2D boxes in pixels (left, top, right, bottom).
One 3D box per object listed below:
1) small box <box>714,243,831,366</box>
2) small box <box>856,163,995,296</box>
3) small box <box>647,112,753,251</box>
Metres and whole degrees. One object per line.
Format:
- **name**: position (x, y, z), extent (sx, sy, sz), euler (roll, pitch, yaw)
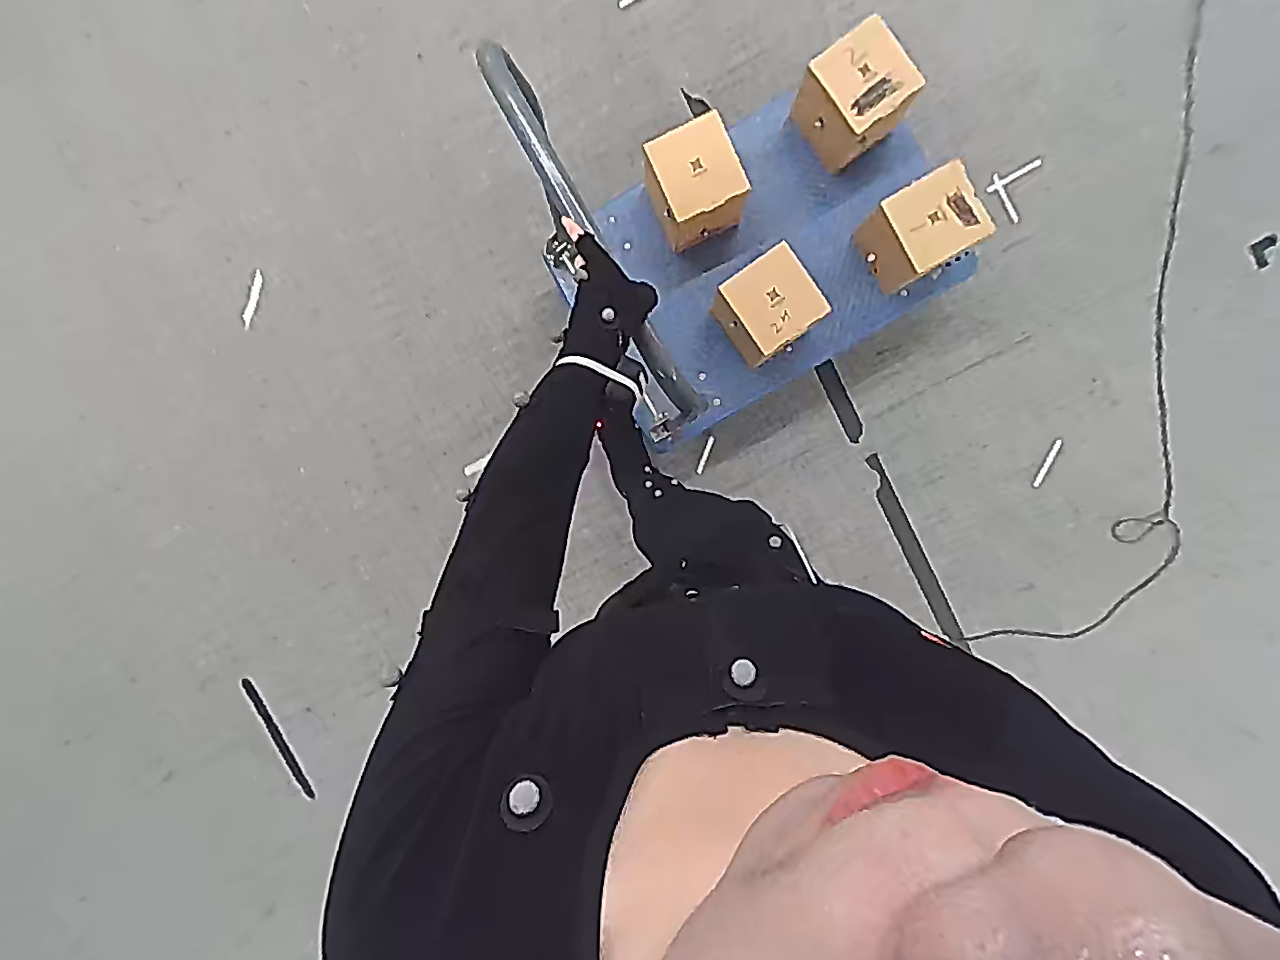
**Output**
- **small box**: position (0.277, -0.372, 1.181), extent (0.168, 0.176, 0.179), euler (-34, 91, 4)
- **small box**: position (0.600, -0.527, 1.161), extent (0.179, 0.176, 0.168), euler (-29, 92, 4)
- **small box**: position (0.122, -0.635, 1.172), extent (0.168, 0.176, 0.179), euler (-26, 92, 4)
